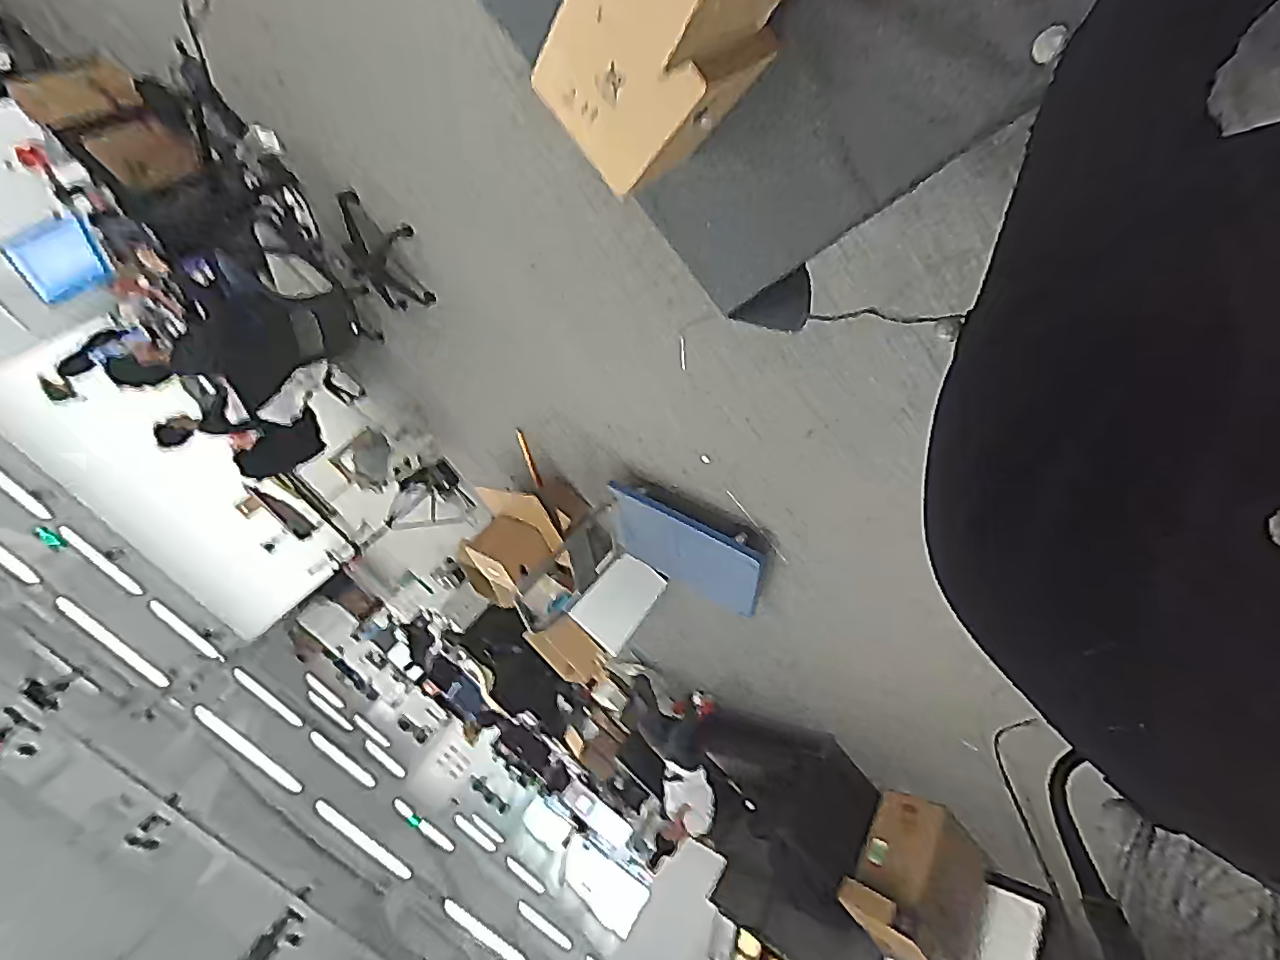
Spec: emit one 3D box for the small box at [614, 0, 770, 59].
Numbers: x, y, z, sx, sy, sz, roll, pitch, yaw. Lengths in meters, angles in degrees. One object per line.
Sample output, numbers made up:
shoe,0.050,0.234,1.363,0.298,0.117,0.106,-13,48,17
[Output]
small box,0.049,-0.426,0.336,0.168,0.176,0.179,46,151,-9
